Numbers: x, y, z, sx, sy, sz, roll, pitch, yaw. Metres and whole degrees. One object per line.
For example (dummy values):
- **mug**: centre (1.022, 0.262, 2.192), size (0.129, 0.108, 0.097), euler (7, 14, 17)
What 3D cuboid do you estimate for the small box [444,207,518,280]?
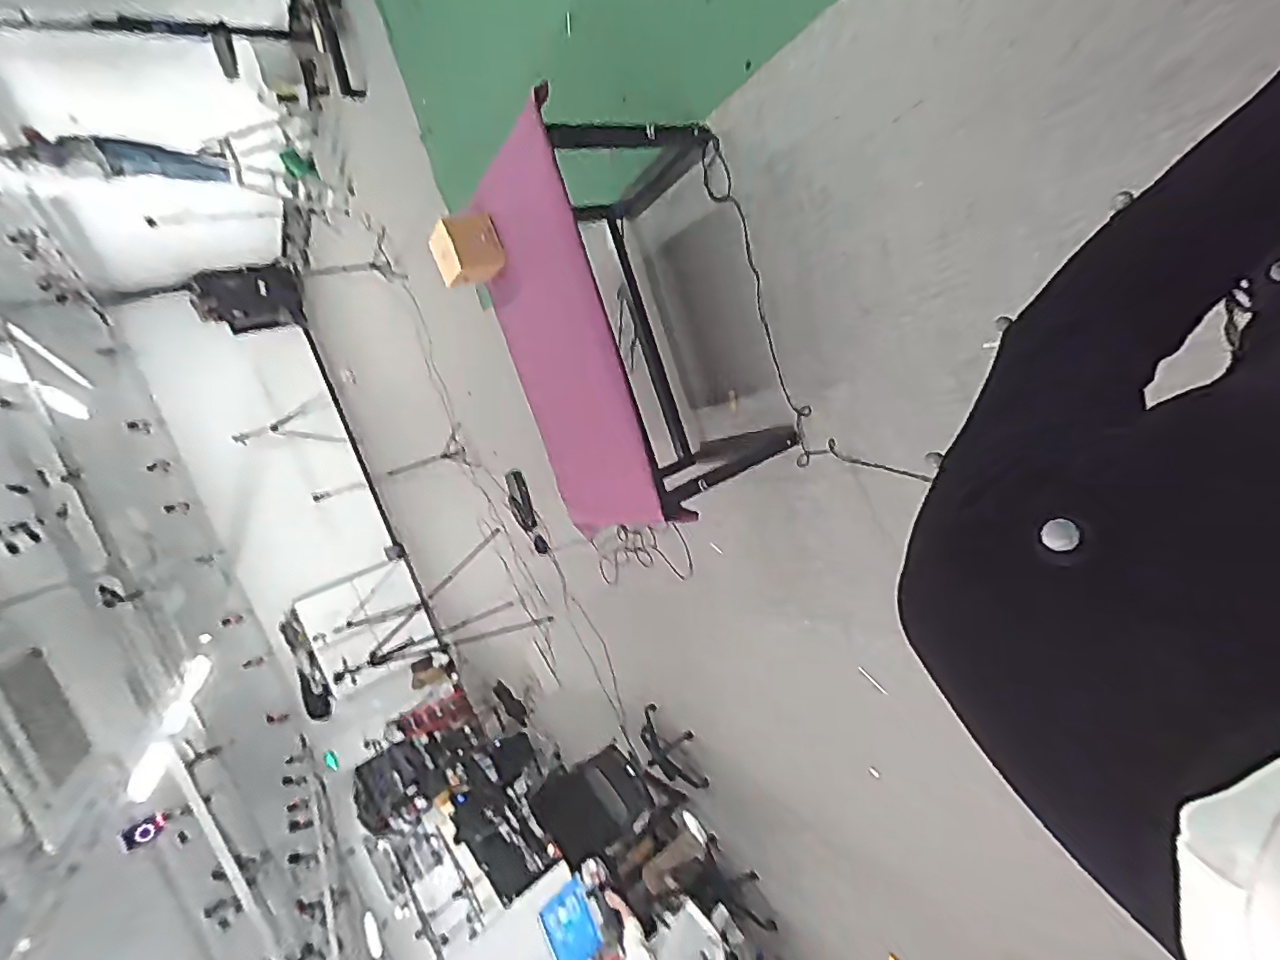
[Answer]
- **small box**: centre (-0.546, -0.813, 1.861), size (0.179, 0.176, 0.168), euler (-7, 107, 56)
